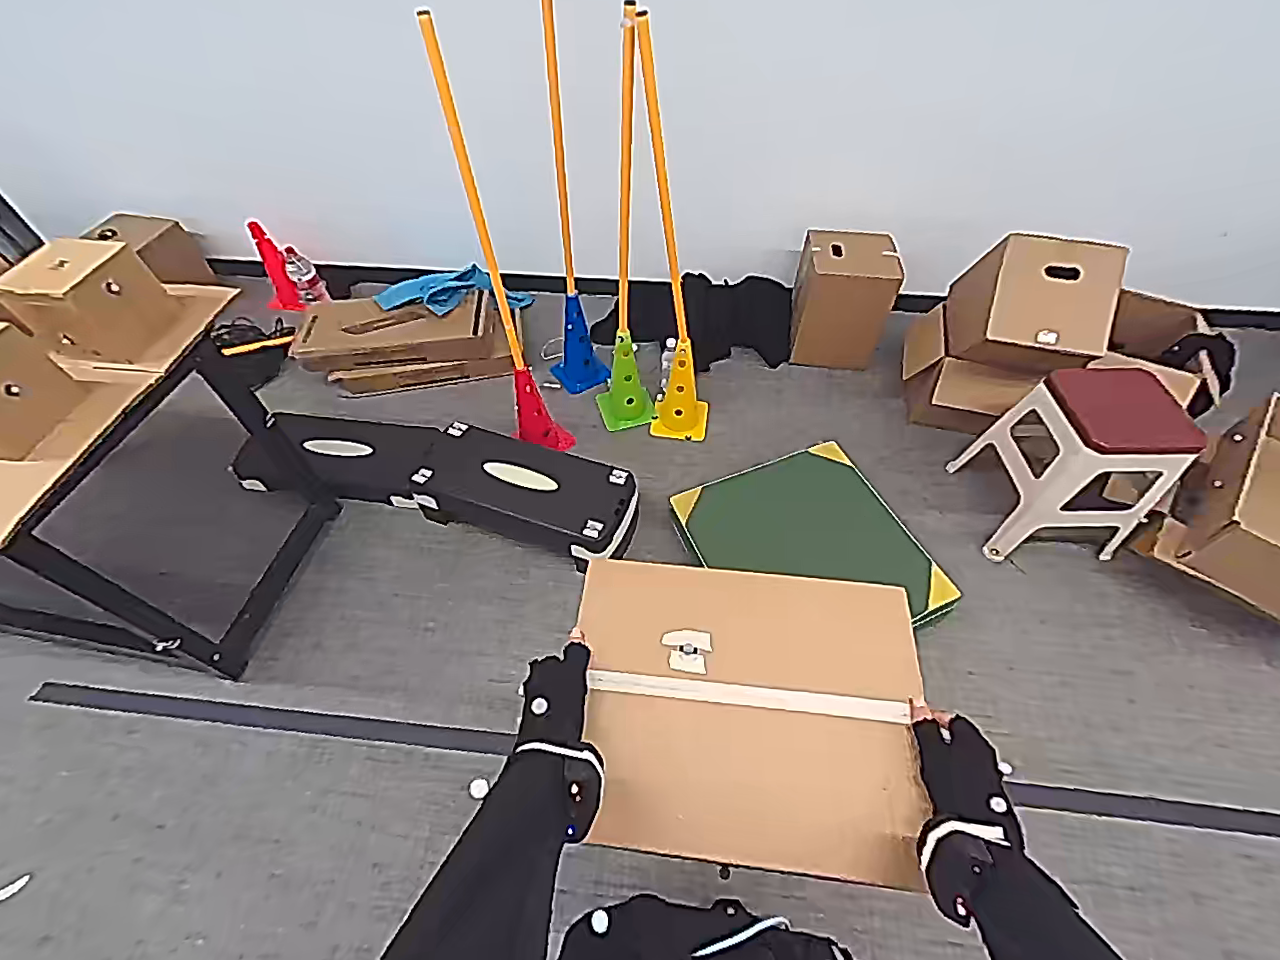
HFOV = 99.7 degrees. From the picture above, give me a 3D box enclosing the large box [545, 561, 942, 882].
[{"bbox_3d":[0.123,0.330,0.746,0.408,0.320,0.320,4,55,7],"label":"large box"}]
